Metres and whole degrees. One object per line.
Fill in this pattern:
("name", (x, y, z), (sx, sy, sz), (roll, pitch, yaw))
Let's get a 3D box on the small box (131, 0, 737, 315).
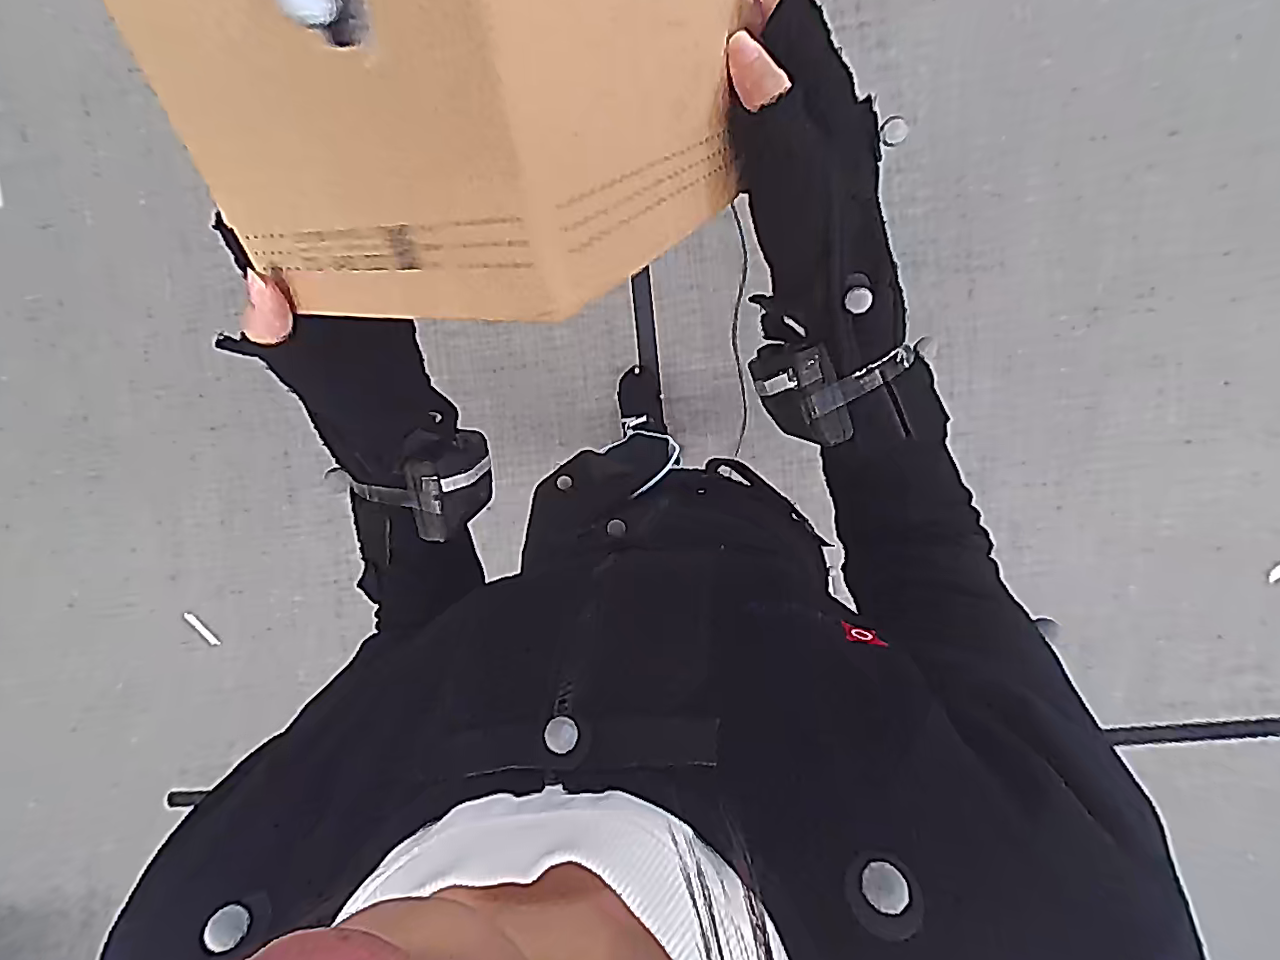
("small box", (-0.064, -0.179, 0.221), (0.168, 0.179, 0.176), (11, 132, 26))
